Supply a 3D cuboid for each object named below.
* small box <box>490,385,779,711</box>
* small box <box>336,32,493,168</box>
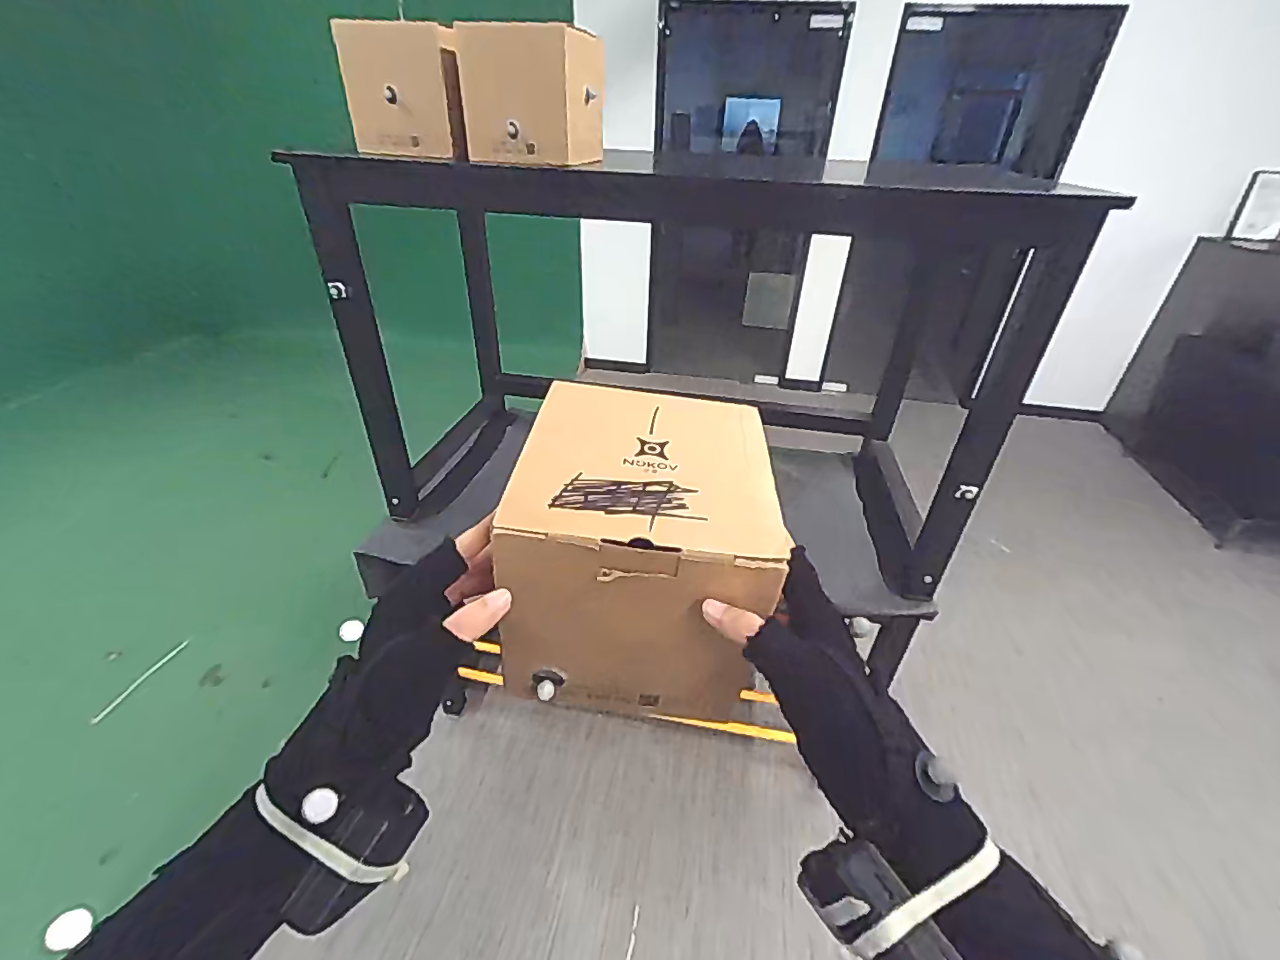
[{"bbox_3d":[-0.003,0.049,0.413,0.168,0.176,0.179,7,37,0],"label":"small box"},{"bbox_3d":[-0.354,-0.618,0.892,0.168,0.176,0.179,9,33,7],"label":"small box"}]
